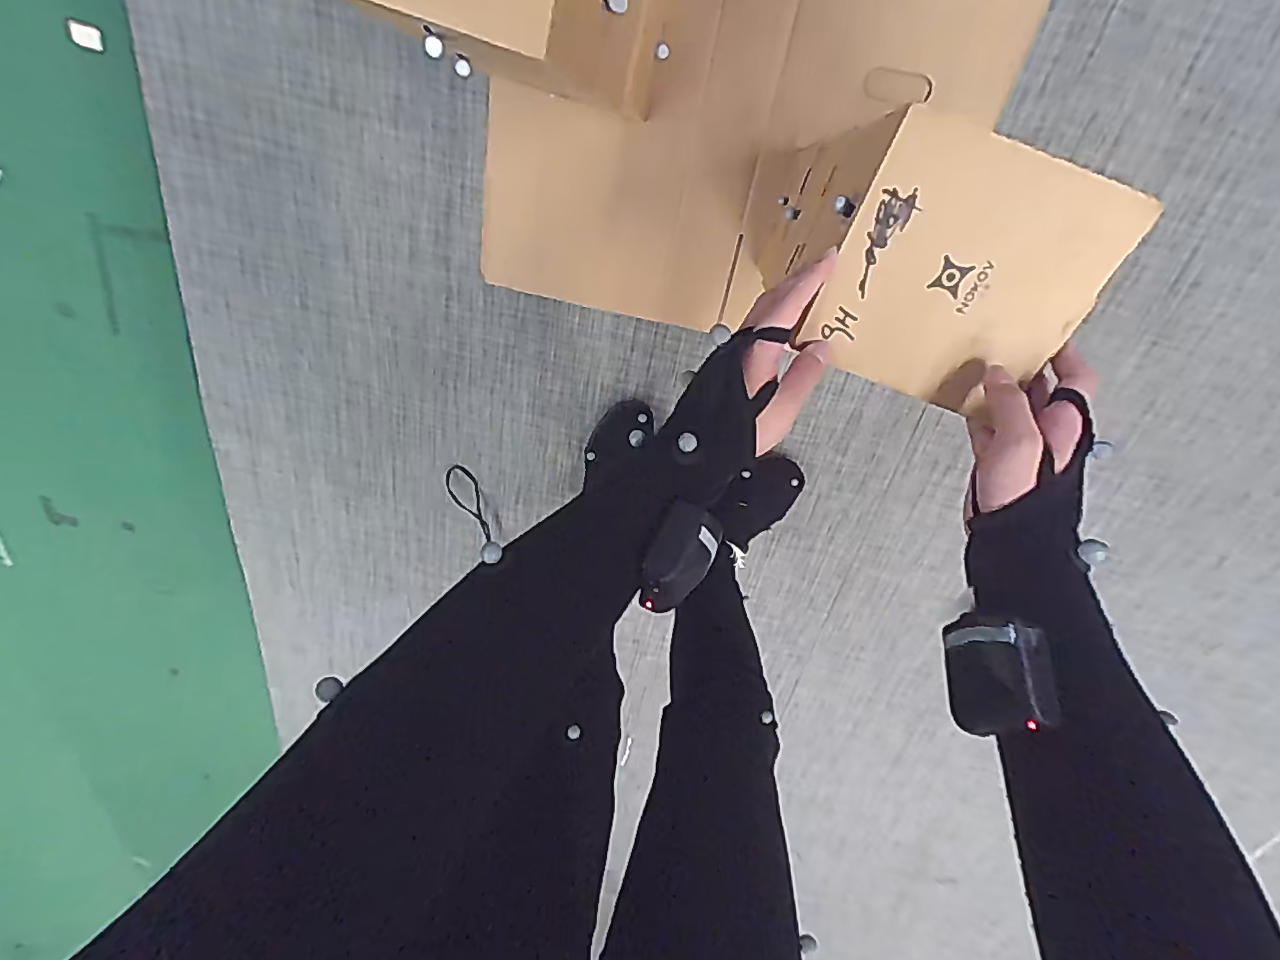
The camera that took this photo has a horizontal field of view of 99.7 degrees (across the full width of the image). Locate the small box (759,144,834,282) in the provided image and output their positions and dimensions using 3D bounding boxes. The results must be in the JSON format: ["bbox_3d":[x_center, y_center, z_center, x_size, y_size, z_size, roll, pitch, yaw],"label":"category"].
[{"bbox_3d":[0.273,-0.331,0.729,0.179,0.176,0.168,18,118,0],"label":"small box"}]

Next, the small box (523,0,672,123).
[{"bbox_3d":[-0.069,-0.557,0.659,0.179,0.176,0.168,16,119,-1],"label":"small box"}]

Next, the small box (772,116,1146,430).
[{"bbox_3d":[0.227,-0.170,0.446,0.179,0.176,0.168,20,119,-3],"label":"small box"}]

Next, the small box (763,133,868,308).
[{"bbox_3d":[0.250,-0.248,0.587,0.179,0.176,0.168,21,118,-2],"label":"small box"}]

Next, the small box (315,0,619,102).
[{"bbox_3d":[-0.113,-0.391,0.379,0.179,0.176,0.168,19,120,0],"label":"small box"}]
